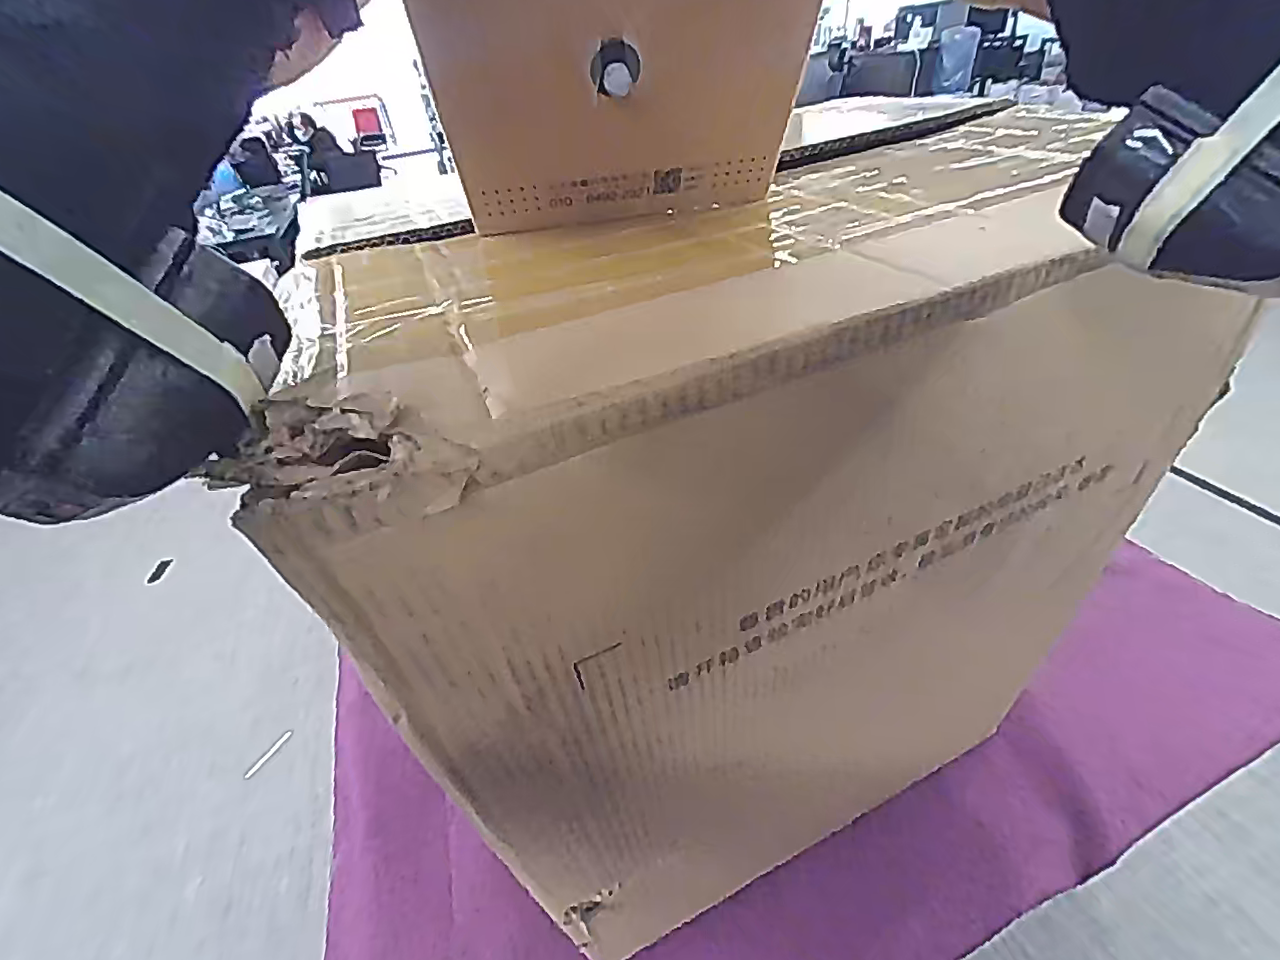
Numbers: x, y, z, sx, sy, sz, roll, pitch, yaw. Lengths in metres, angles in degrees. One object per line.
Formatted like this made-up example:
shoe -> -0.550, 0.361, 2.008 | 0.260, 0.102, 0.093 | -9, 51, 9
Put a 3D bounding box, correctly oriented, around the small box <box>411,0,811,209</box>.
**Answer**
small box -> -0.020, -0.254, 0.256 | 0.168, 0.176, 0.179 | -10, 69, -6
